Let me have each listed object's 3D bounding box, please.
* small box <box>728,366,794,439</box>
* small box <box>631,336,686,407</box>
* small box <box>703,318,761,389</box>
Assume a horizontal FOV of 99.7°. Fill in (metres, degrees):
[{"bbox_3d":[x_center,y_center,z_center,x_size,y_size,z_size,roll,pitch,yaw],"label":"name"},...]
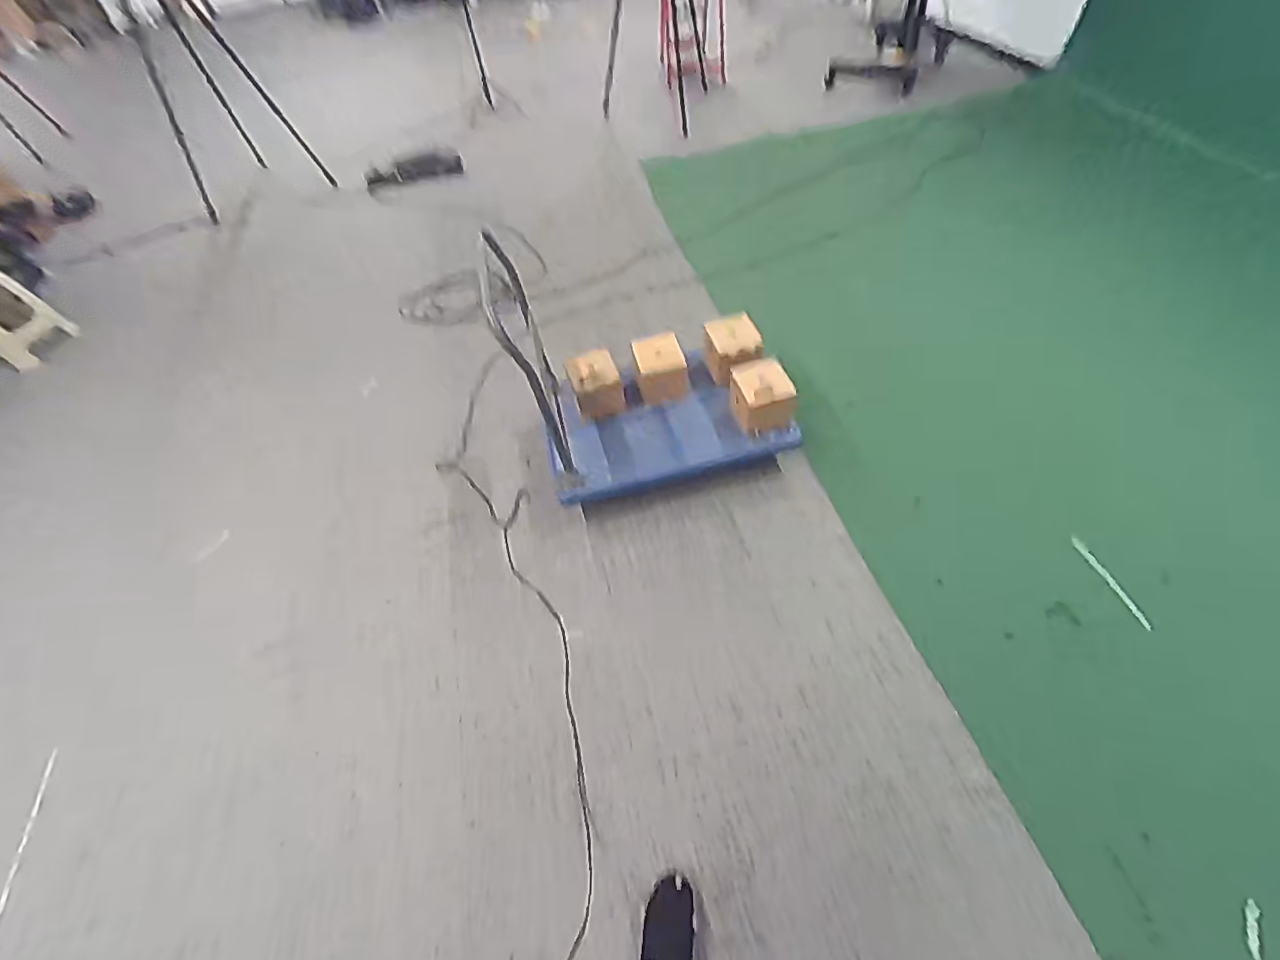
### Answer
[{"bbox_3d":[0.413,-0.261,1.871,0.168,0.176,0.179,-15,52,-5],"label":"small box"},{"bbox_3d":[0.068,-0.397,1.992,0.168,0.176,0.179,-14,54,-5],"label":"small box"},{"bbox_3d":[0.338,-0.471,2.015,0.168,0.176,0.179,-15,53,-4],"label":"small box"}]
